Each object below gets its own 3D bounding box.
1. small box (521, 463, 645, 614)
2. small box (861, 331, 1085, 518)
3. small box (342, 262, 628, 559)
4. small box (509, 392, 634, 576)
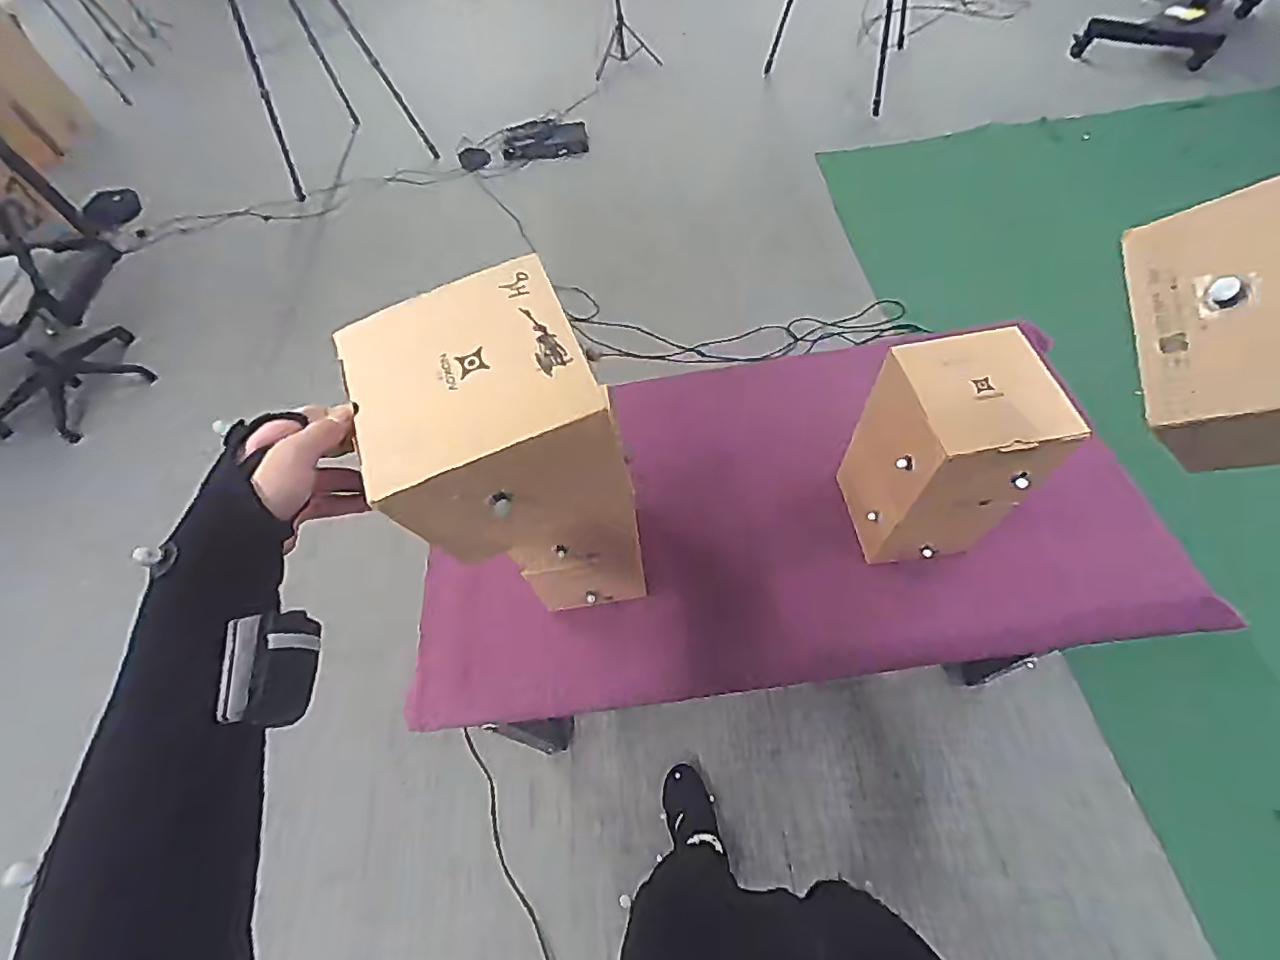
[{"bbox_3d":[-0.087,0.097,0.872,0.168,0.176,0.179,-9,57,2],"label":"small box"},{"bbox_3d":[0.414,-0.063,0.712,0.168,0.176,0.179,-9,57,2],"label":"small box"},{"bbox_3d":[-0.126,-0.049,0.481,0.179,0.176,0.168,-22,64,-2],"label":"small box"},{"bbox_3d":[-0.105,0.009,0.736,0.168,0.176,0.179,-10,58,1],"label":"small box"}]
